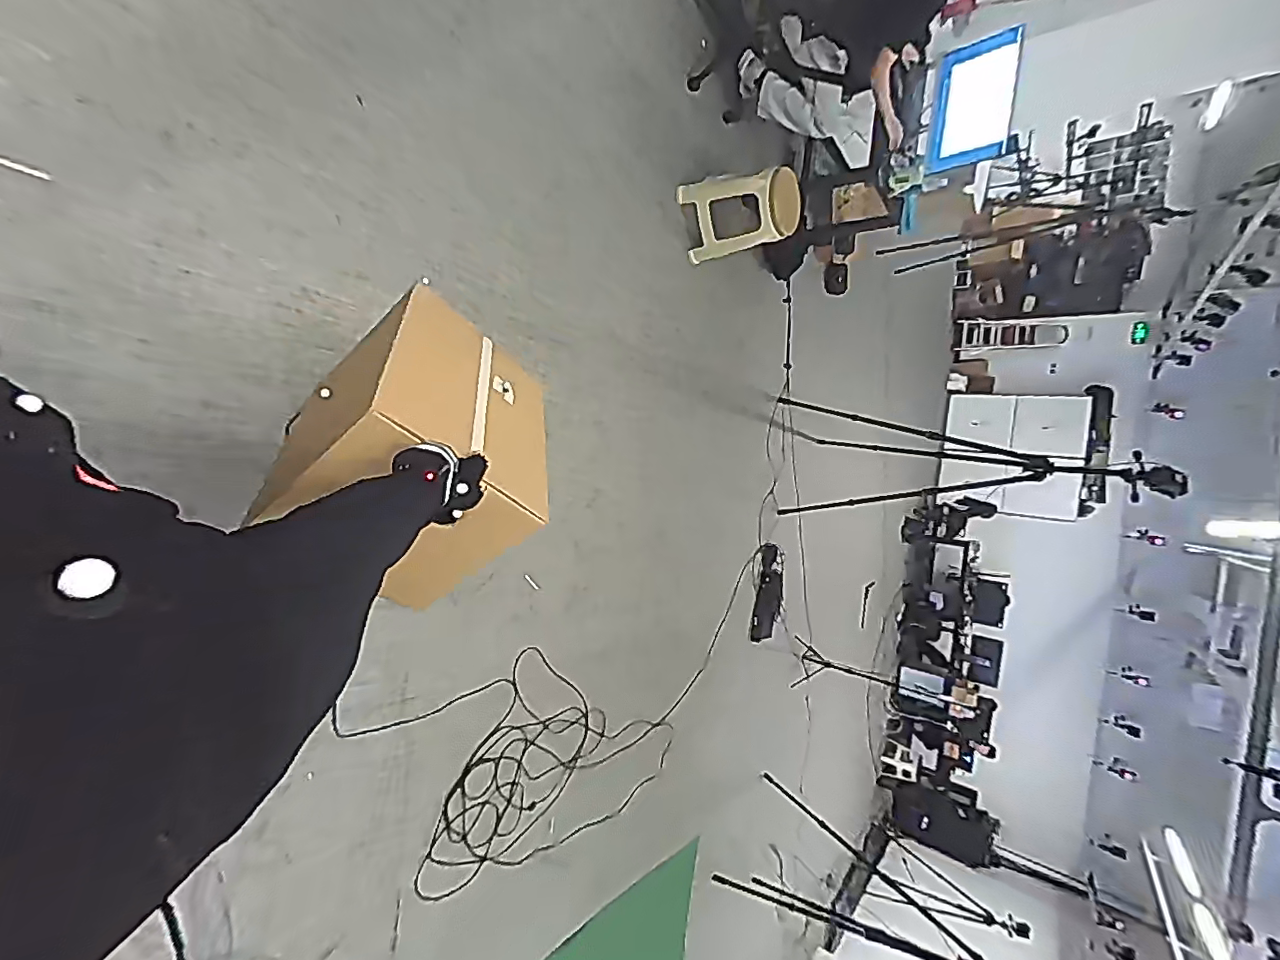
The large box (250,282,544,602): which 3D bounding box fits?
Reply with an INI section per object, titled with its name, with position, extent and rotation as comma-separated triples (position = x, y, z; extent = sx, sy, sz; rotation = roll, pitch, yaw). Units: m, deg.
[large box]
position = -0.396, -0.063, 0.959
extent = 0.320, 0.320, 0.408
rotation = 41, 23, -38
